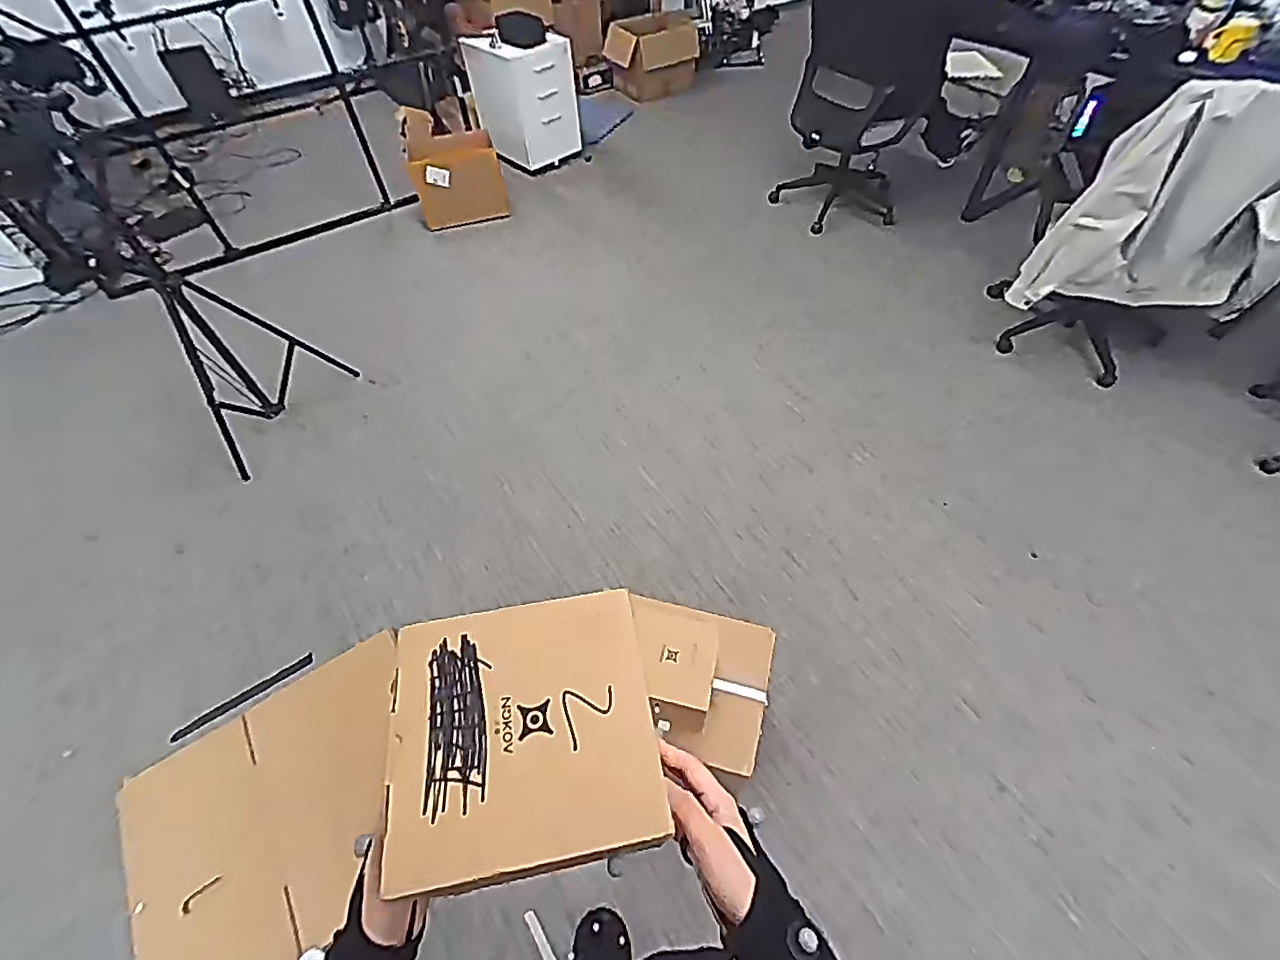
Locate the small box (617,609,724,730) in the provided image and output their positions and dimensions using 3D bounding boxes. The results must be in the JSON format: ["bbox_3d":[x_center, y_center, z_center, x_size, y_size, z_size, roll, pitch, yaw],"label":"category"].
[{"bbox_3d":[0.063,0.381,1.075,0.179,0.176,0.168,10,55,10],"label":"small box"}]
